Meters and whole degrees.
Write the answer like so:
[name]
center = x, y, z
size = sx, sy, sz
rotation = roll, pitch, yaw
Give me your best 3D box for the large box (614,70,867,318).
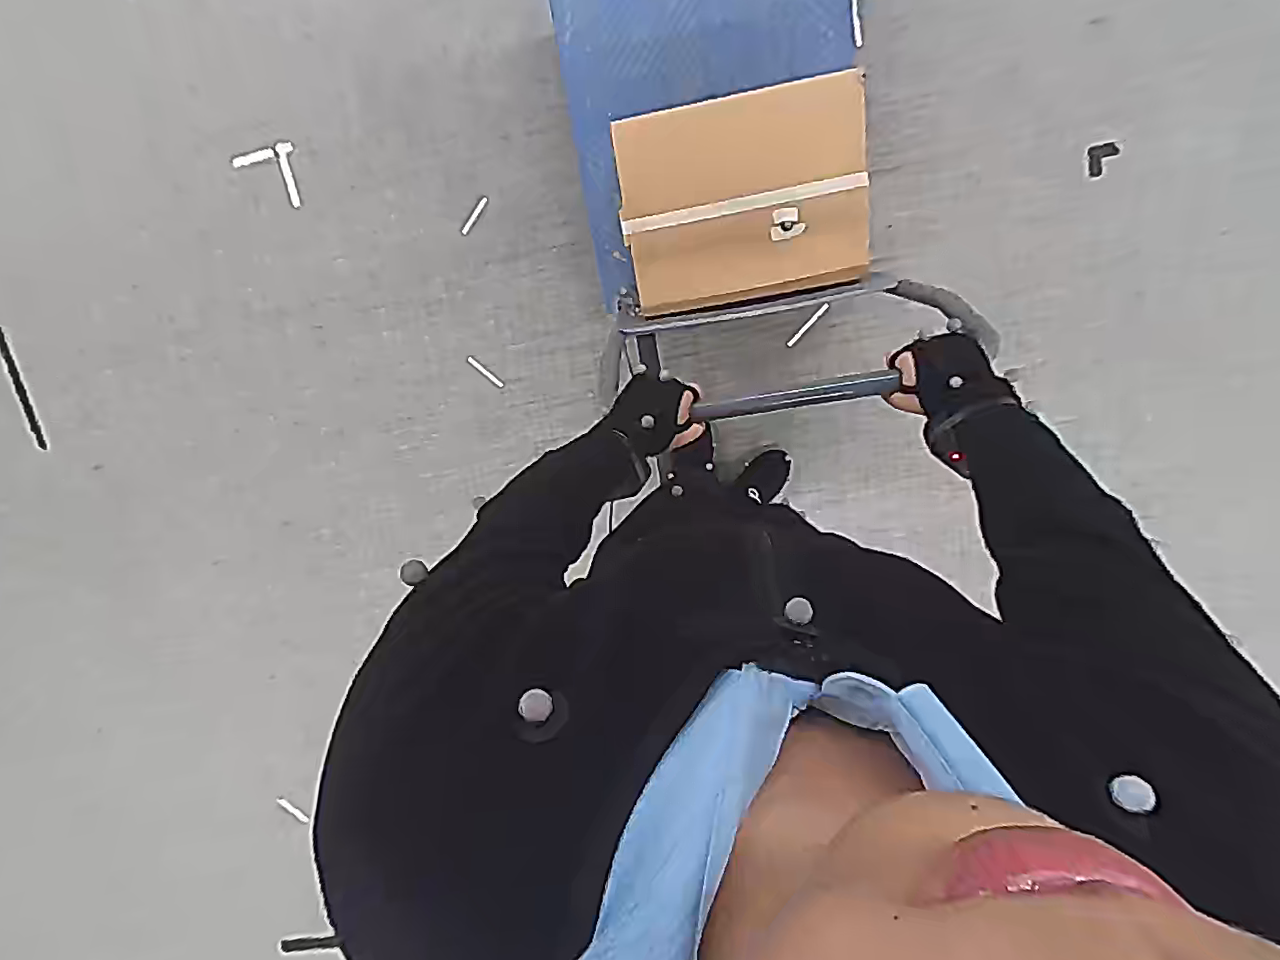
[large box]
center = 0.183, -0.527, 1.064
size = 0.408, 0.320, 0.320
rotation = -10, 112, 6
